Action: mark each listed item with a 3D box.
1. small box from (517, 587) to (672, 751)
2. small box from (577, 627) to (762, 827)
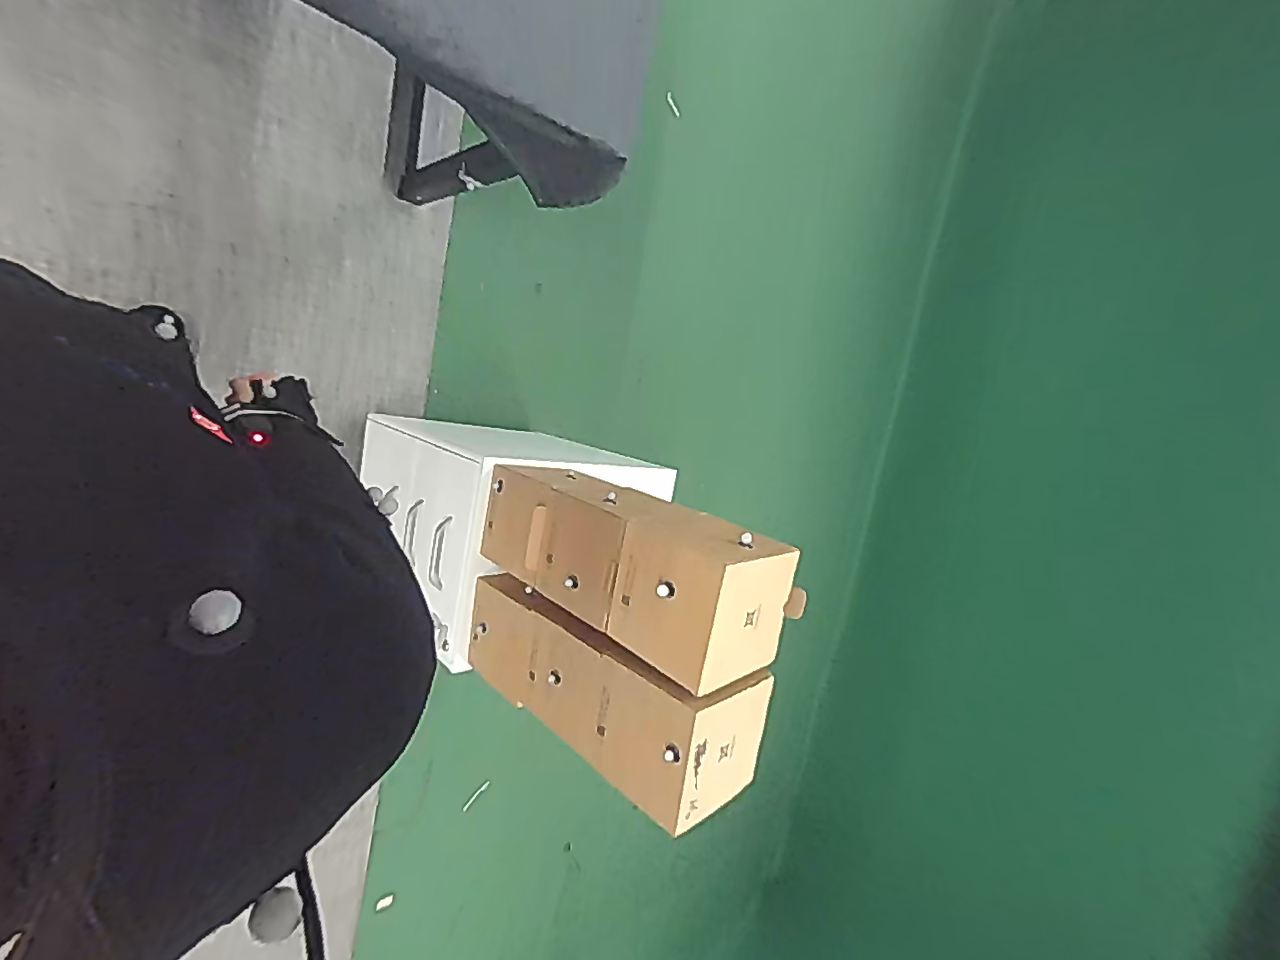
[{"bbox_3d":[-0.077,0.286,0.862,0.179,0.176,0.168,-3,105,-47],"label":"small box"},{"bbox_3d":[0.040,0.322,0.753,0.179,0.176,0.168,0,103,-48],"label":"small box"}]
